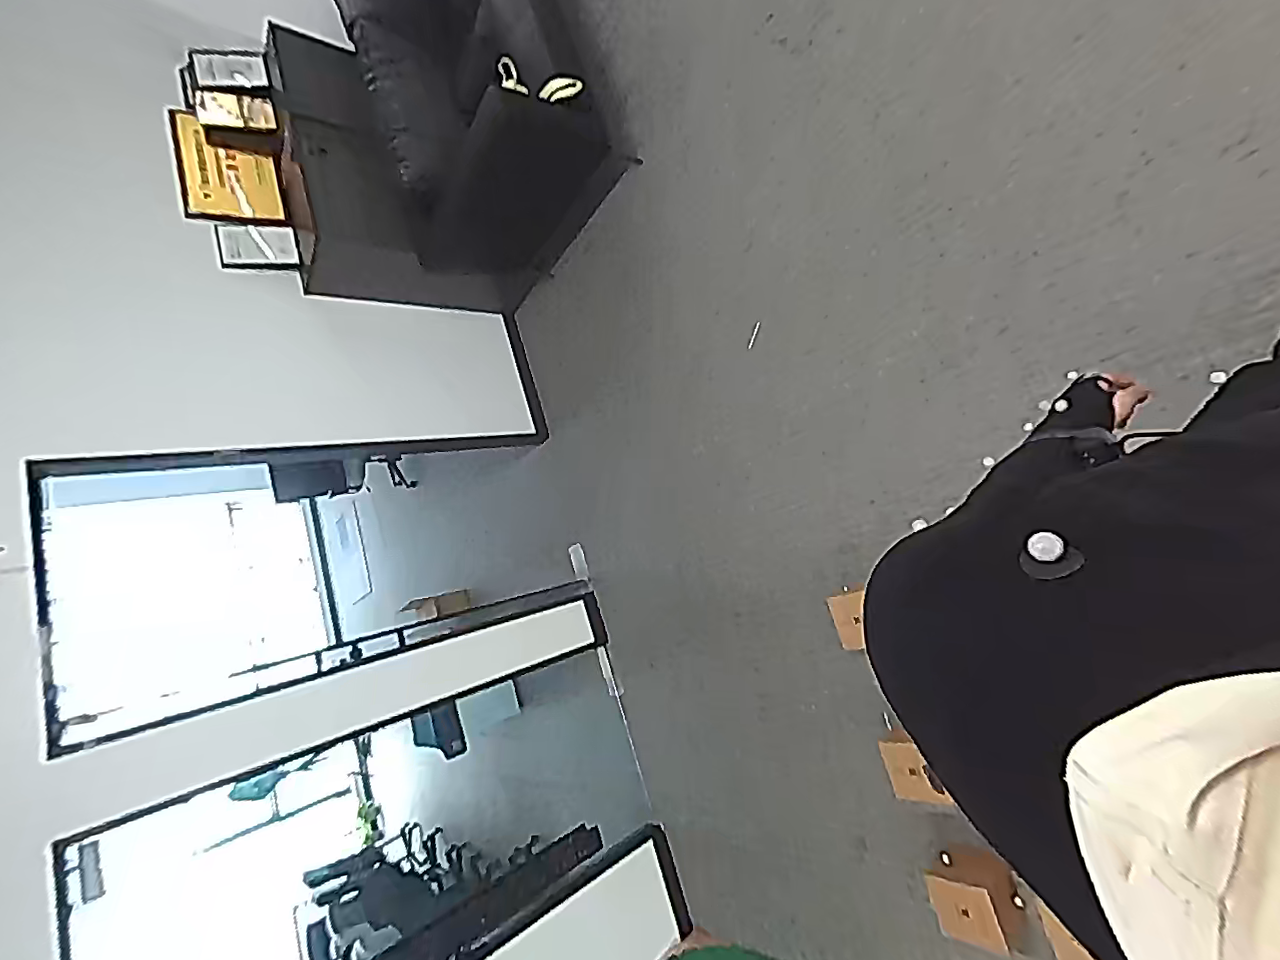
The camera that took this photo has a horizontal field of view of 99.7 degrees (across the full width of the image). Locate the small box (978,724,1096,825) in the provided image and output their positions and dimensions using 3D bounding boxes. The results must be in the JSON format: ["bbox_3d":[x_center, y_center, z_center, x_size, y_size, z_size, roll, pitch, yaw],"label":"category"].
[{"bbox_3d":[1.007,0.734,1.372,0.179,0.176,0.168,-27,75,48],"label":"small box"}]

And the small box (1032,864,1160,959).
[{"bbox_3d":[1.104,1.073,1.308,0.179,0.176,0.168,-30,74,49],"label":"small box"}]

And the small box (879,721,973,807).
[{"bbox_3d":[0.842,0.819,1.579,0.179,0.176,0.168,-27,75,49],"label":"small box"}]
